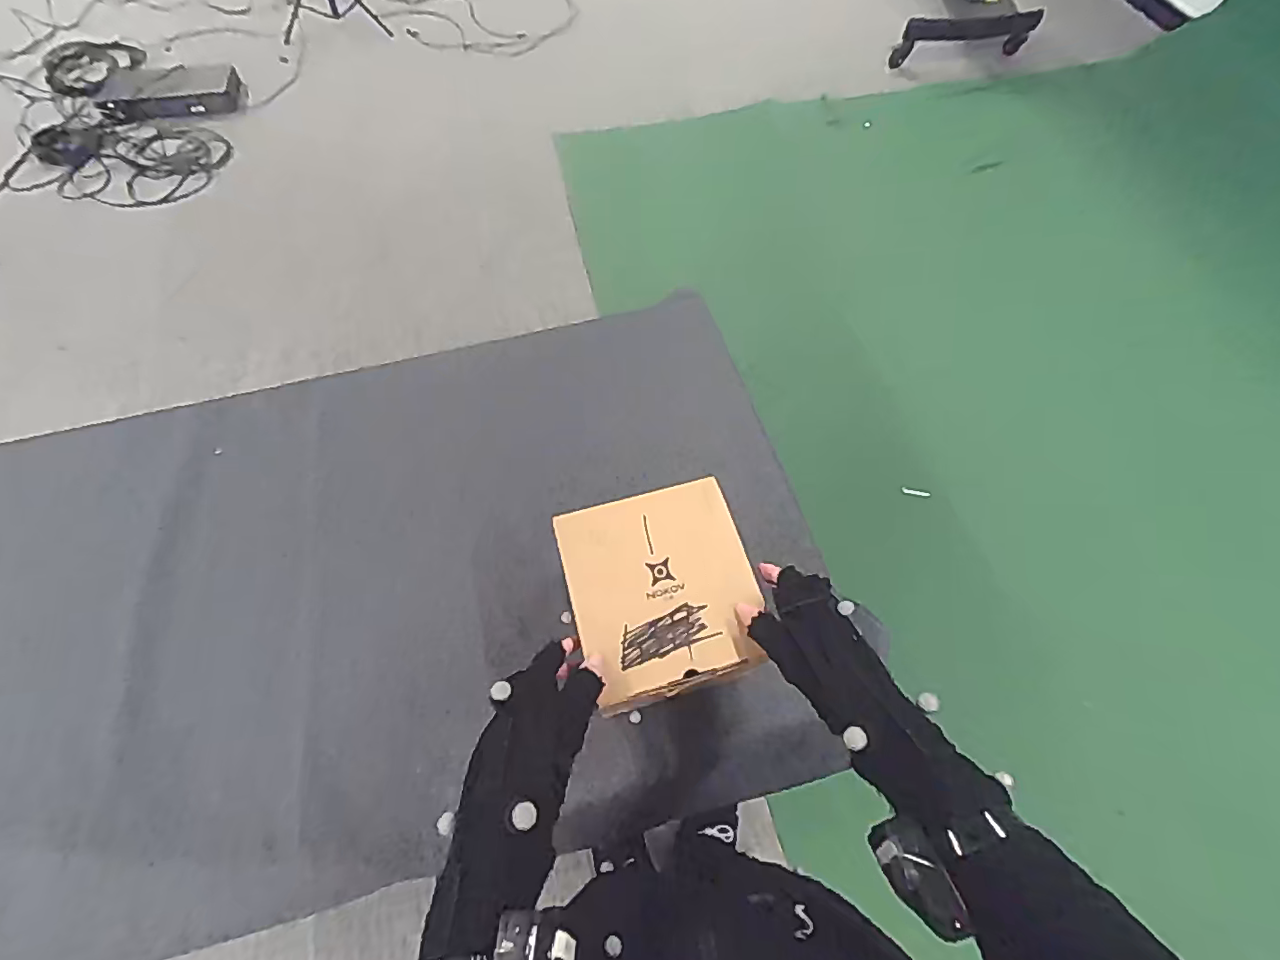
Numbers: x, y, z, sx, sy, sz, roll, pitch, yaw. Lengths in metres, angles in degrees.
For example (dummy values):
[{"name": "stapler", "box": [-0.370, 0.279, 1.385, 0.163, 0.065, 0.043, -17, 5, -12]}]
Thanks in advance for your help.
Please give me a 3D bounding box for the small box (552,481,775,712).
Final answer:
[{"name": "small box", "box": [0.016, 0.128, 0.554, 0.168, 0.176, 0.179, -13, 64, -9]}]
